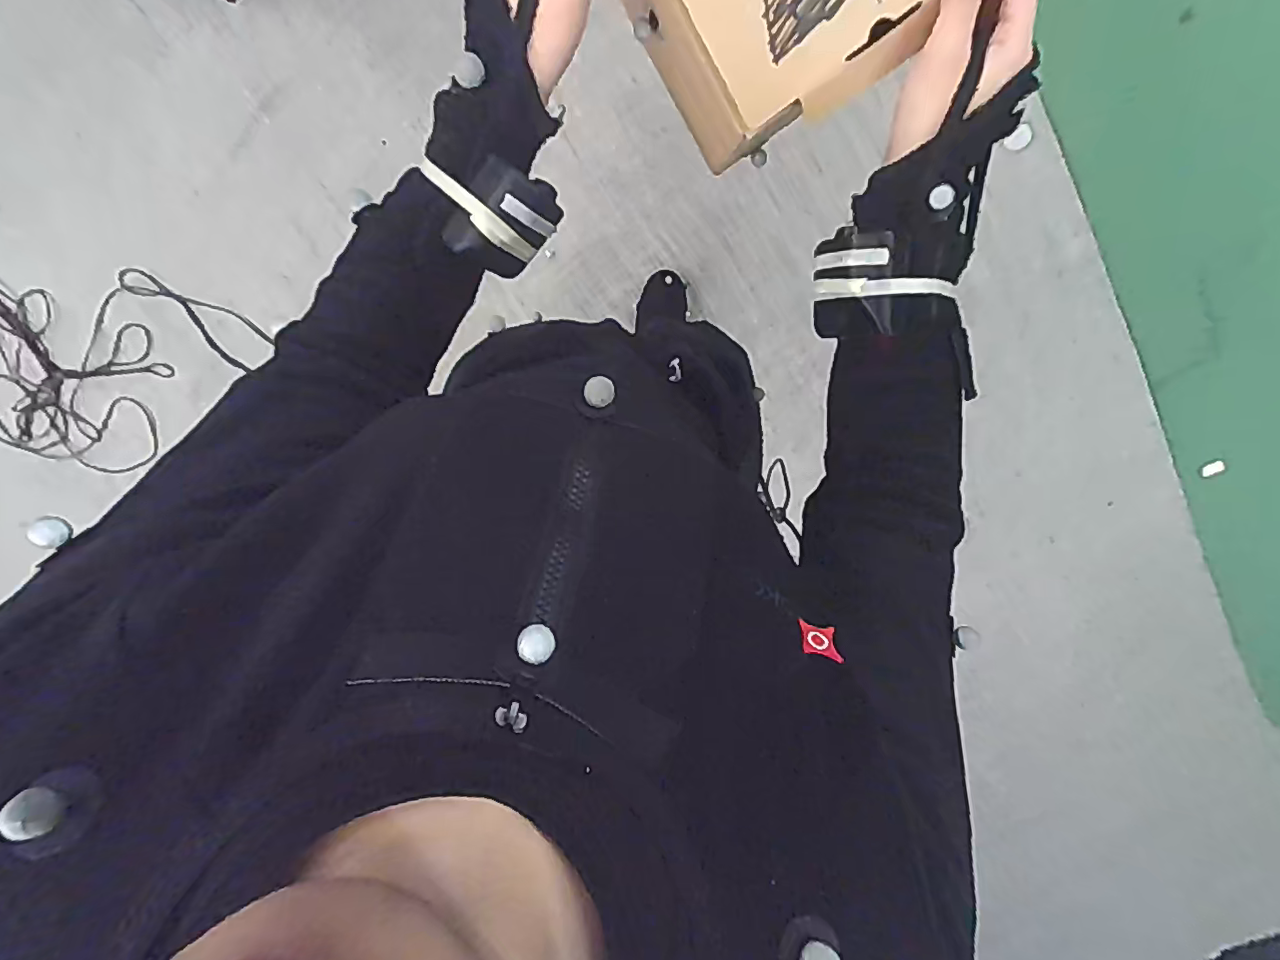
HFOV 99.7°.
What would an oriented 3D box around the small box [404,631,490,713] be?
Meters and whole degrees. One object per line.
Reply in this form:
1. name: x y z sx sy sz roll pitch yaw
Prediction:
1. small box: -0.553 0.570 1.560 0.179 0.176 0.168 -28 107 12
